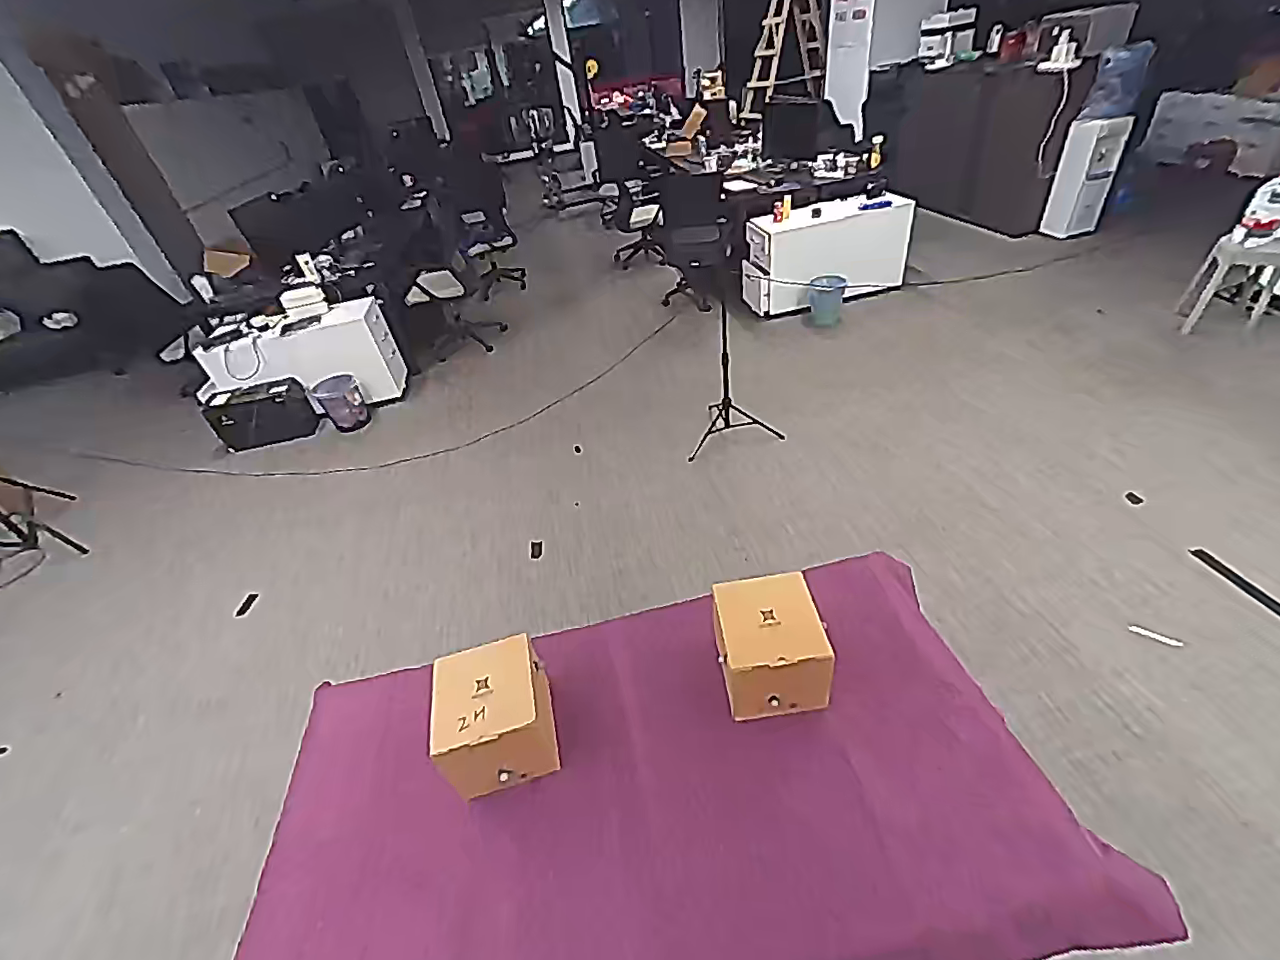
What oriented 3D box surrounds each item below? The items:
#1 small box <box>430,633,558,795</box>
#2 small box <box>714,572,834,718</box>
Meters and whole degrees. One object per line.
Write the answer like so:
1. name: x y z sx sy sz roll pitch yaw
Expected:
1. small box: -0.246 0.401 0.933 0.168 0.176 0.179 -15 39 -6
2. small box: 0.229 0.293 0.964 0.168 0.176 0.179 -9 40 2
